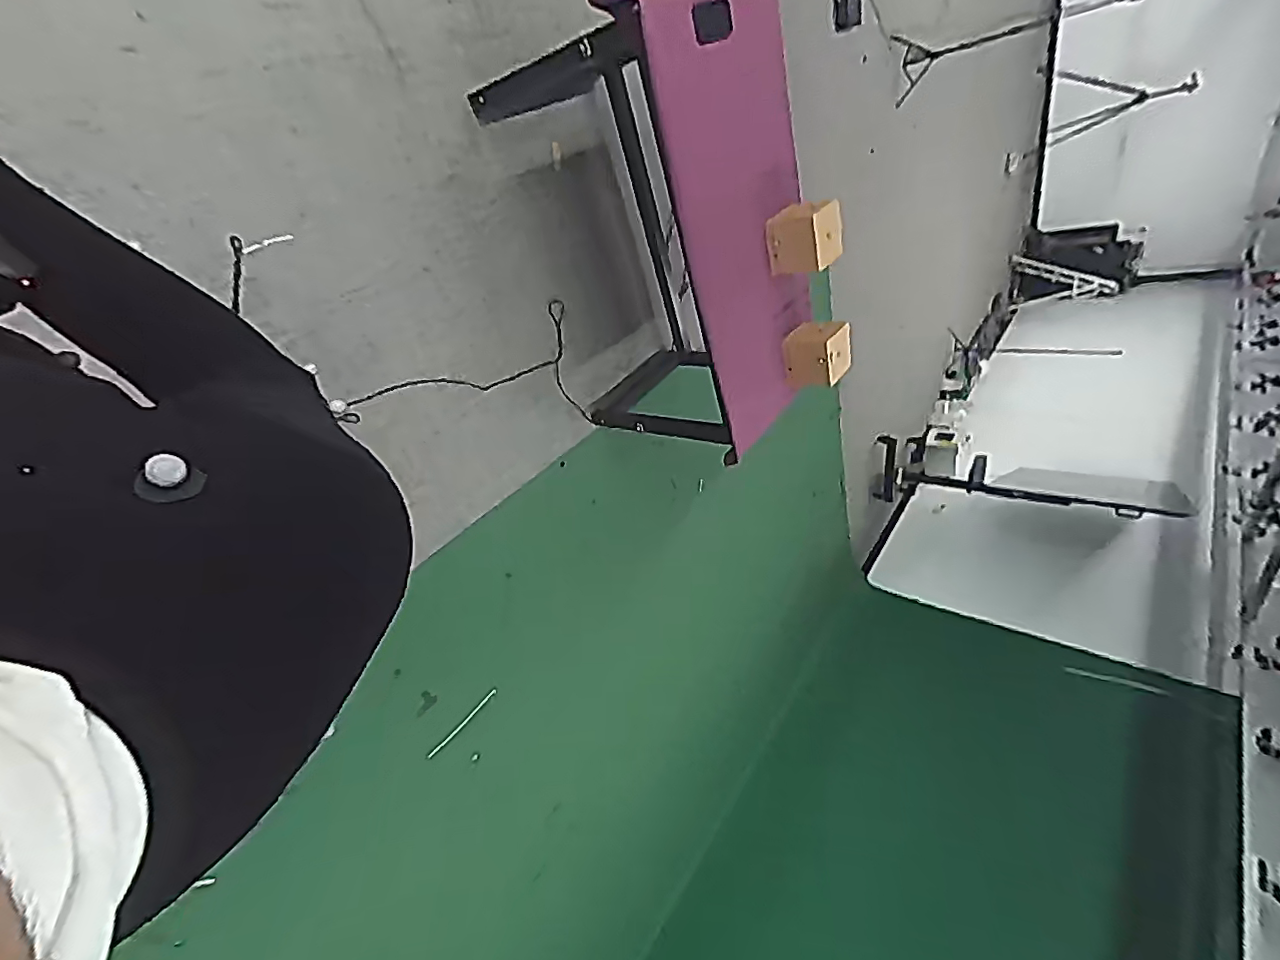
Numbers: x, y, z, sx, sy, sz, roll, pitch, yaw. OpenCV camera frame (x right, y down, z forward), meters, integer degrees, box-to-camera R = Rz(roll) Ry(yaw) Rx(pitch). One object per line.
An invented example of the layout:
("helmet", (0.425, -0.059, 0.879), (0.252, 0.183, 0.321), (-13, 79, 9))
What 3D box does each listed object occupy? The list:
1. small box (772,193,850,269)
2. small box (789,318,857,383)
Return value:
("small box", (0.529, -0.768, 1.673), (0.179, 0.176, 0.168), (-42, 128, -32))
("small box", (0.637, -0.454, 1.880), (0.179, 0.176, 0.168), (-42, 128, -33))
